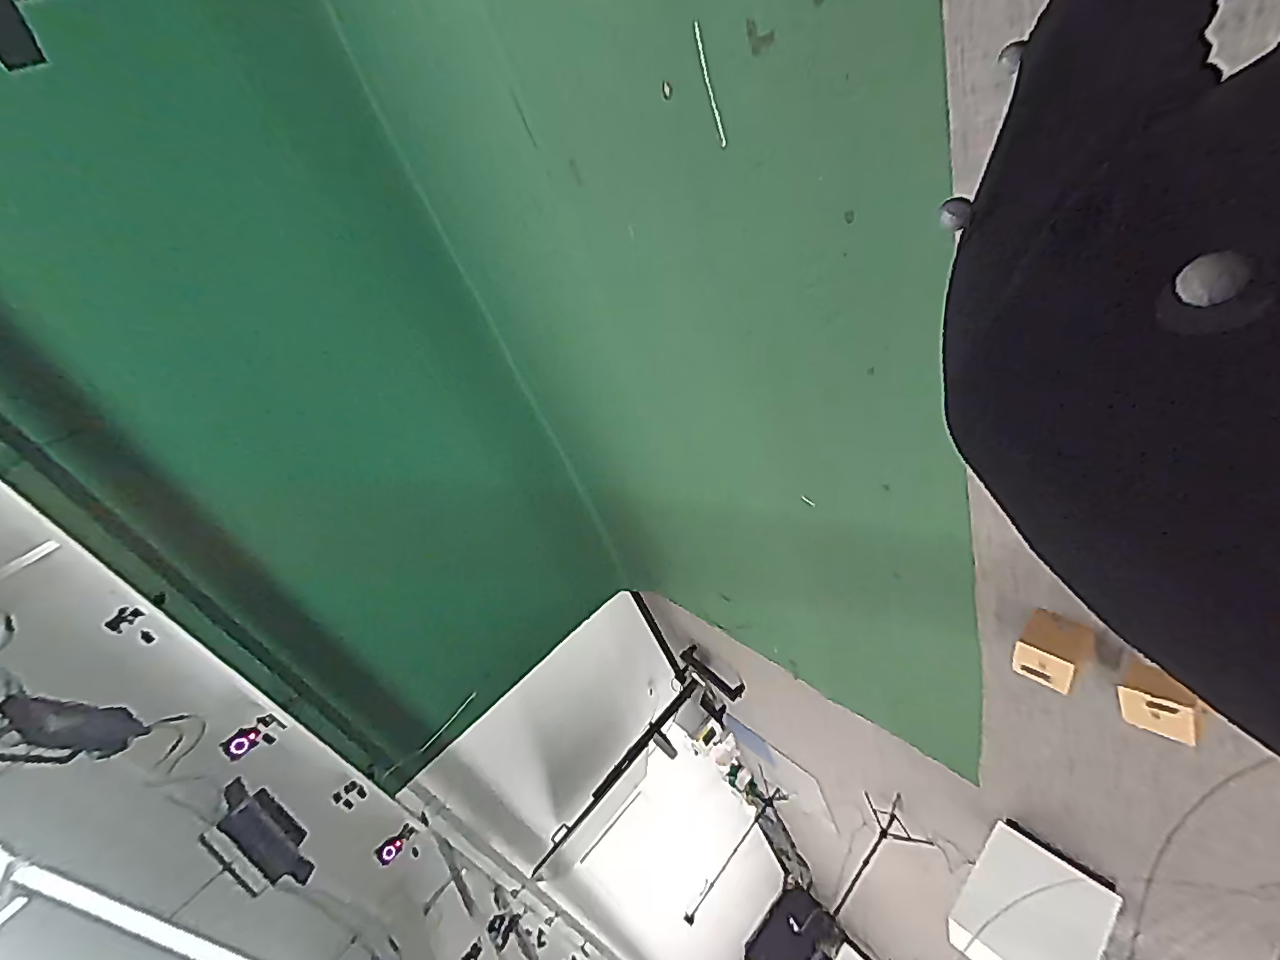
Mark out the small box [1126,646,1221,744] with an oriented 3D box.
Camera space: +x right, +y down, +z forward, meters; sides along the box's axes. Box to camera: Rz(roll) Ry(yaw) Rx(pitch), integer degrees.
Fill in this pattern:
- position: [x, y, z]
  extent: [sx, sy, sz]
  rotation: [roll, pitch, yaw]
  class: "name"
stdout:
- position: [1.580, 0.627, 1.602]
  extent: [0.168, 0.176, 0.179]
  rotation: [11, 136, 56]
  class: "small box"
